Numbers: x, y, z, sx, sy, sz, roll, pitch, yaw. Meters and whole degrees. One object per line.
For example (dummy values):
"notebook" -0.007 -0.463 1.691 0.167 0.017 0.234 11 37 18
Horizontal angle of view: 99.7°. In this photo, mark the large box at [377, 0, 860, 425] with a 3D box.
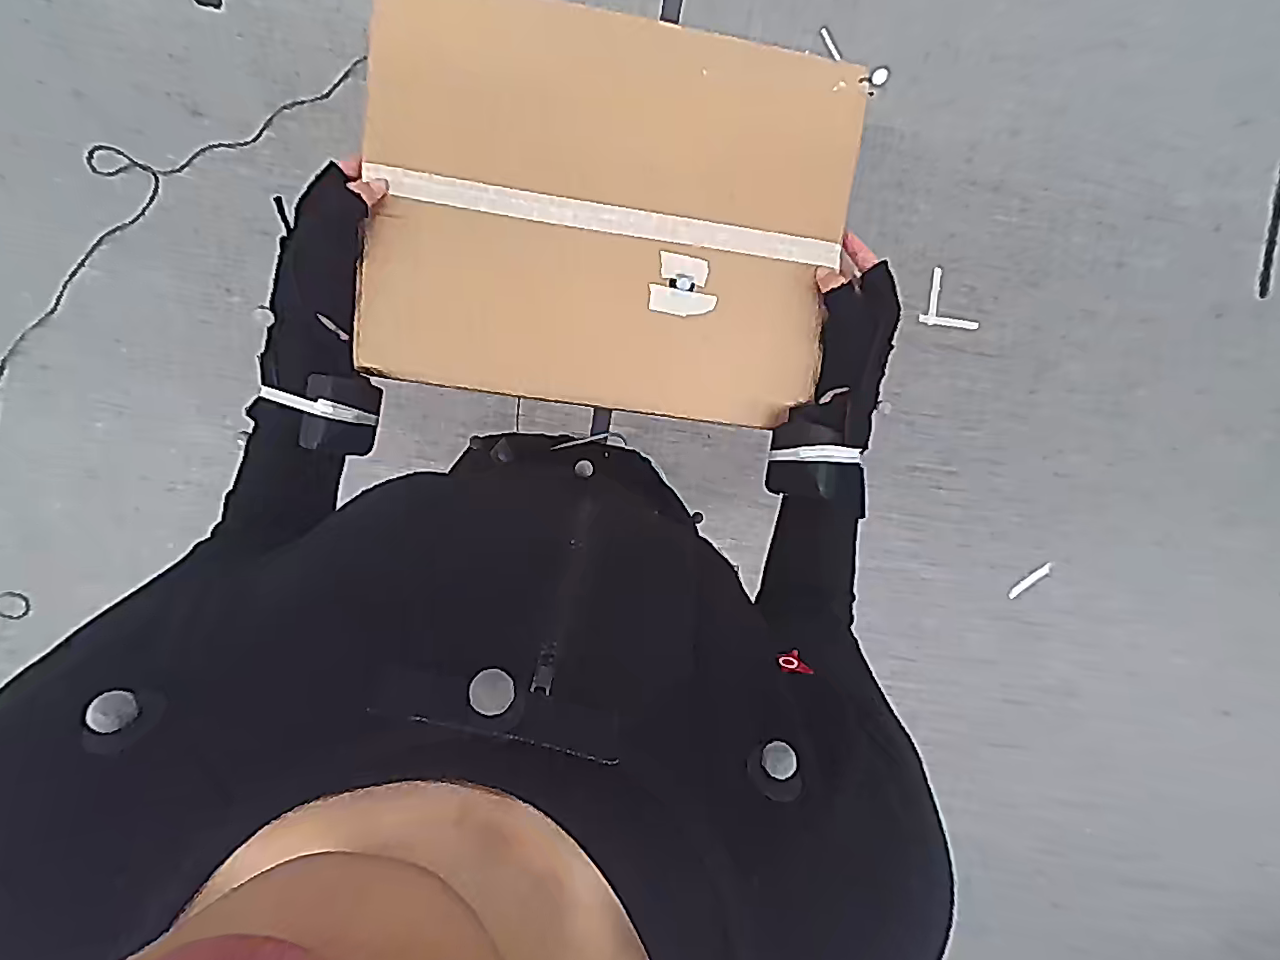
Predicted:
"large box" -0.035 -0.244 0.618 0.408 0.320 0.320 6 99 -7
